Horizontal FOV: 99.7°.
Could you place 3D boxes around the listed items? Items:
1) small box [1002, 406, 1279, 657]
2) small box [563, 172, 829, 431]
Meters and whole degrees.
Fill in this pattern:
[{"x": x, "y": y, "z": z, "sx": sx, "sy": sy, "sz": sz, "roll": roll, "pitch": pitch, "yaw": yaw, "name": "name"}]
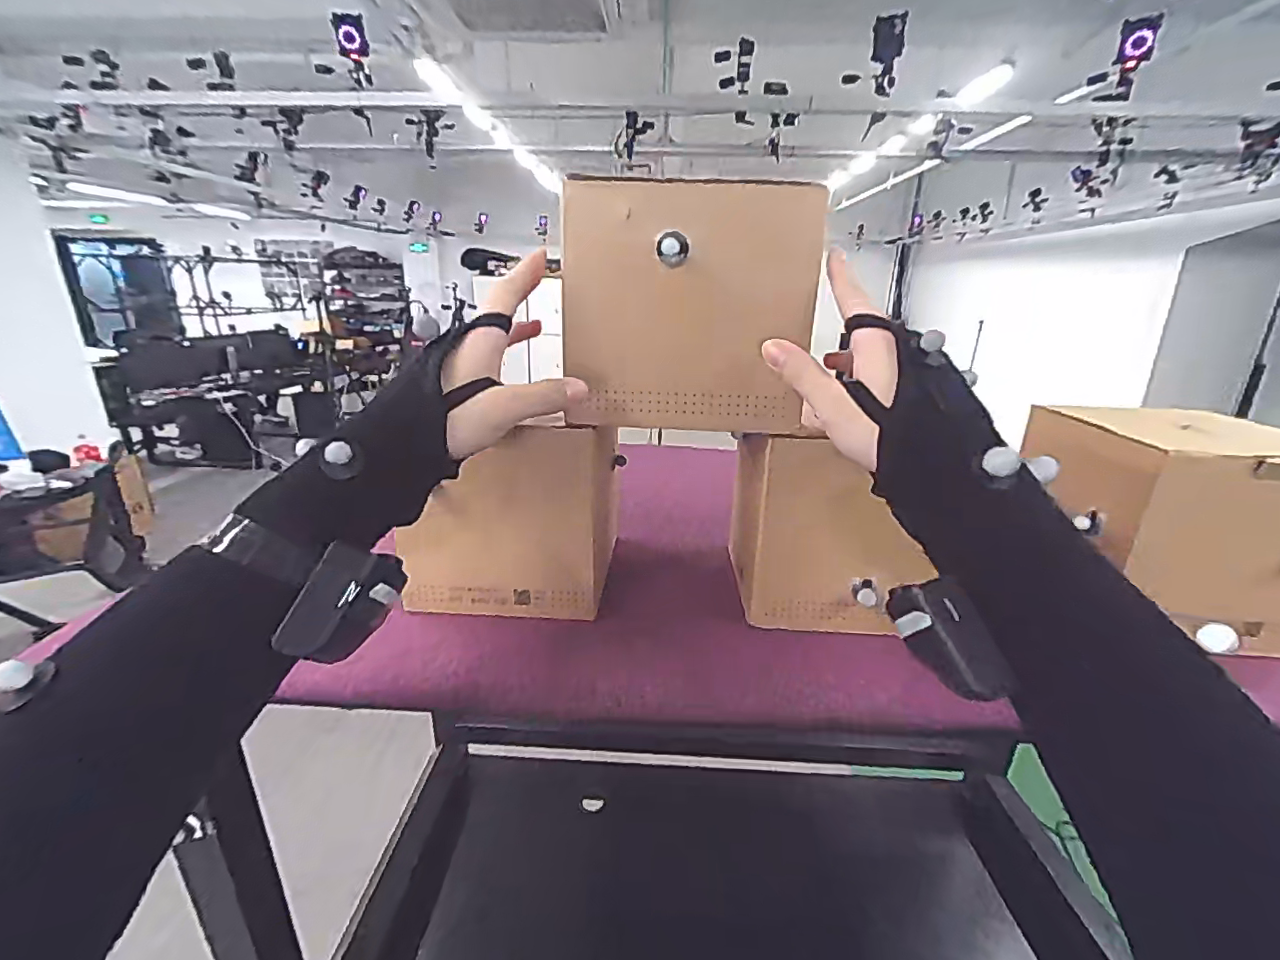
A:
[{"x": 0.462, "y": 0.035, "z": 0.479, "sx": 0.168, "sy": 0.176, "sz": 0.179, "roll": 4, "pitch": 19, "yaw": 6, "name": "small box"}, {"x": 0.040, "y": -0.139, "z": 0.445, "sx": 0.179, "sy": 0.176, "sz": 0.168, "roll": 4, "pitch": 18, "yaw": 4, "name": "small box"}]
